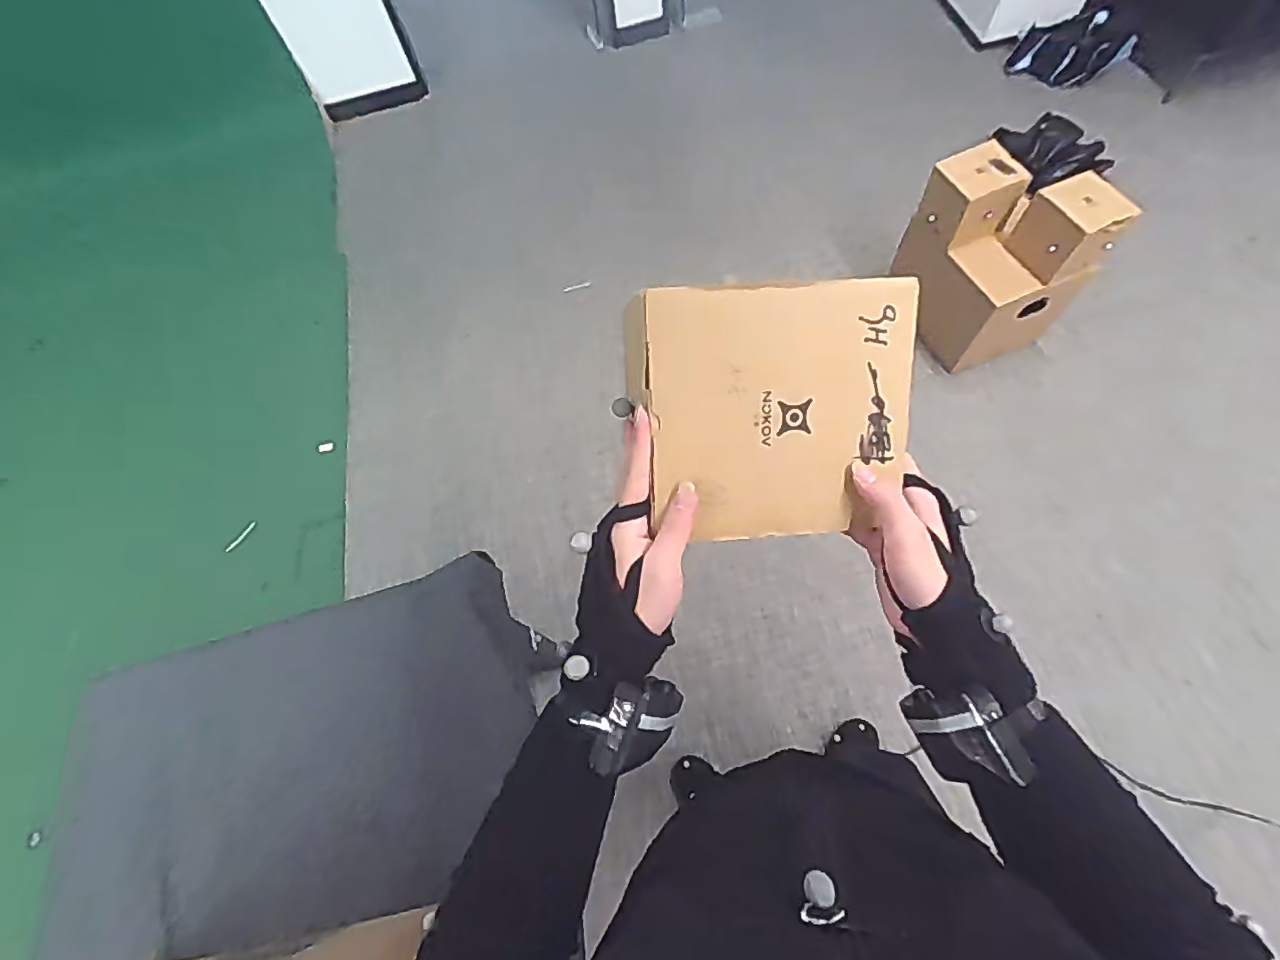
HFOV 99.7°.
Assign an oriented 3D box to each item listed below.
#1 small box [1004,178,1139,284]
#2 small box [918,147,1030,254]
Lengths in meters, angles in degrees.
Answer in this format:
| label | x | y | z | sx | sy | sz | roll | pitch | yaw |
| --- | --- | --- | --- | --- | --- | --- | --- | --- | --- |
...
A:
| label | x | y | z | sx | sy | sz | roll | pitch | yaw |
| --- | --- | --- | --- | --- | --- | --- | --- | --- | --- |
| small box | 1.110 | -0.637 | 1.409 | 0.168 | 0.176 | 0.179 | -22 | 64 | -8 |
| small box | 0.909 | -0.764 | 1.490 | 0.179 | 0.176 | 0.168 | -21 | 65 | 0 |
